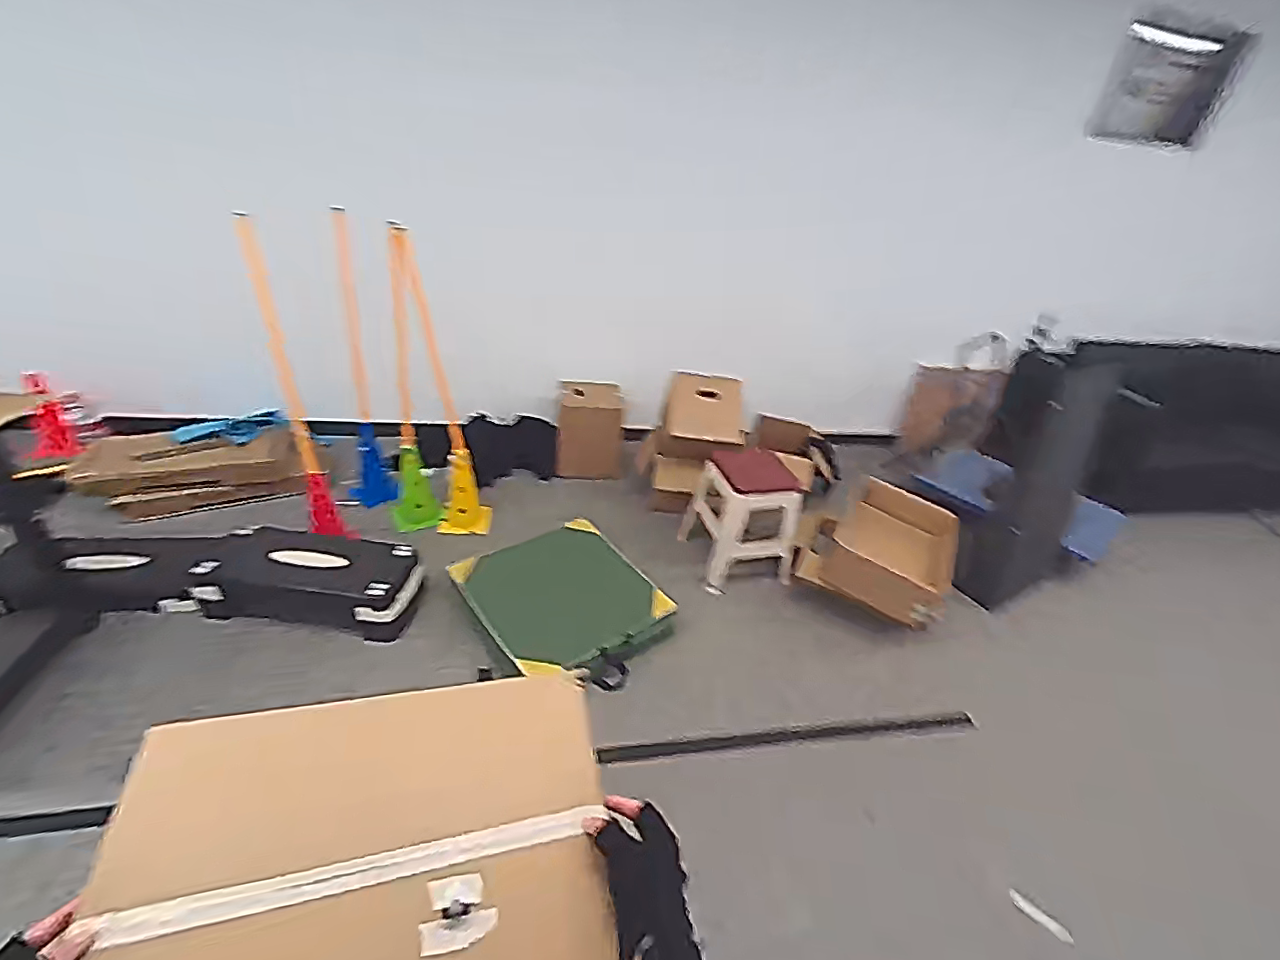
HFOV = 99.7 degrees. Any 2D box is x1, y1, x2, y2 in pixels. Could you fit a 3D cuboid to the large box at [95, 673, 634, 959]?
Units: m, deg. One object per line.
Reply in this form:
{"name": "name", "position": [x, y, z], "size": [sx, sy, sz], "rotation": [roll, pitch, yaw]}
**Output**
{"name": "large box", "position": [-0.253, 0.448, 0.574], "size": [0.408, 0.320, 0.320], "rotation": [-1, 43, -18]}
